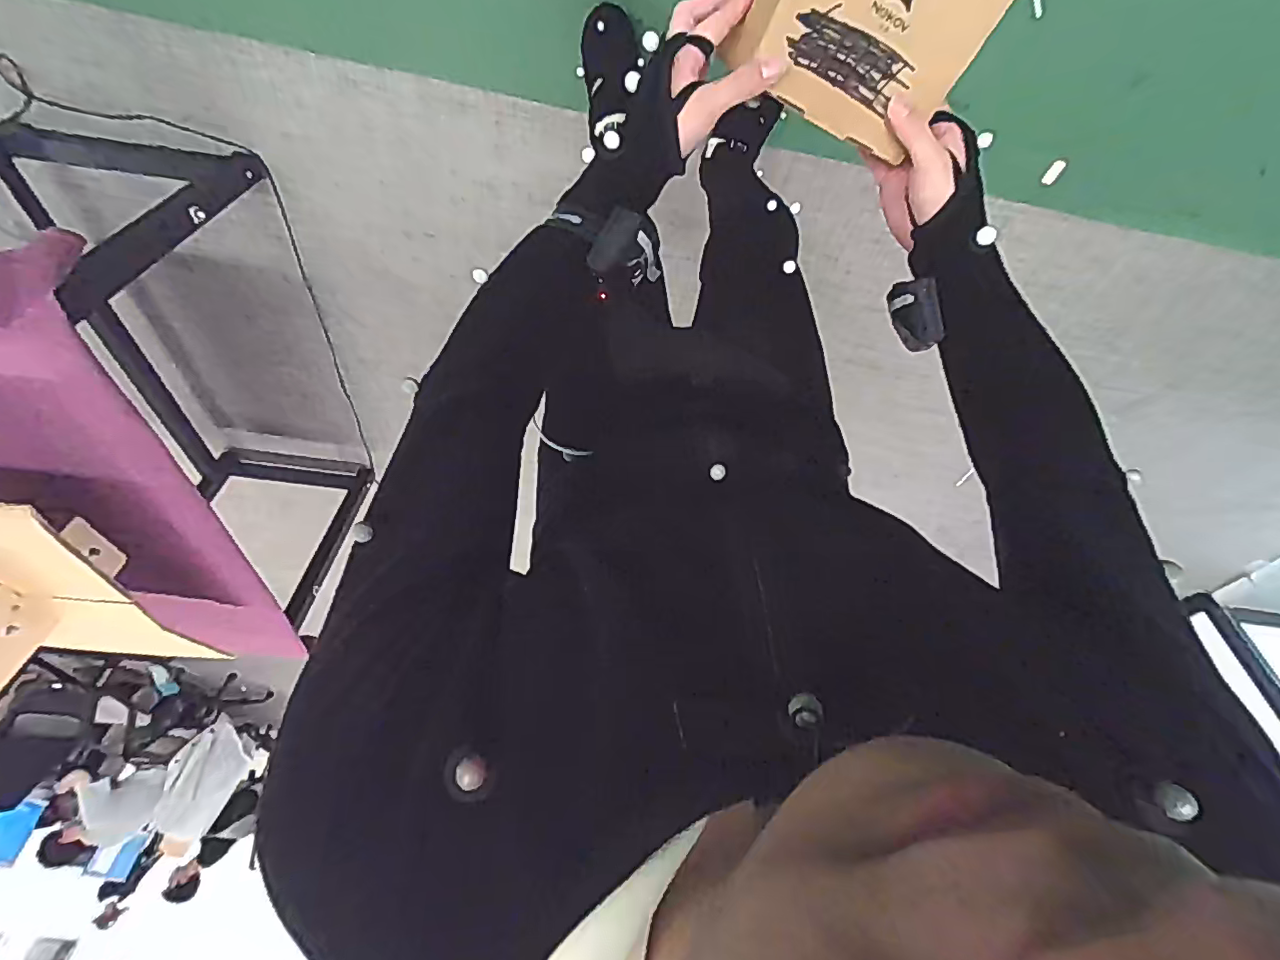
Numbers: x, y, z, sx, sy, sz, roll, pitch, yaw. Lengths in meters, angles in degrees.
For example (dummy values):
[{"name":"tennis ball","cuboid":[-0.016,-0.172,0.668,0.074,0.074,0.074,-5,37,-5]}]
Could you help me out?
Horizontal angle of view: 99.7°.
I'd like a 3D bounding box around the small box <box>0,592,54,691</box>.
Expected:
[{"name":"small box","cuboid":[-1.302,0.313,1.019,0.179,0.176,0.168,7,137,-4]}]
